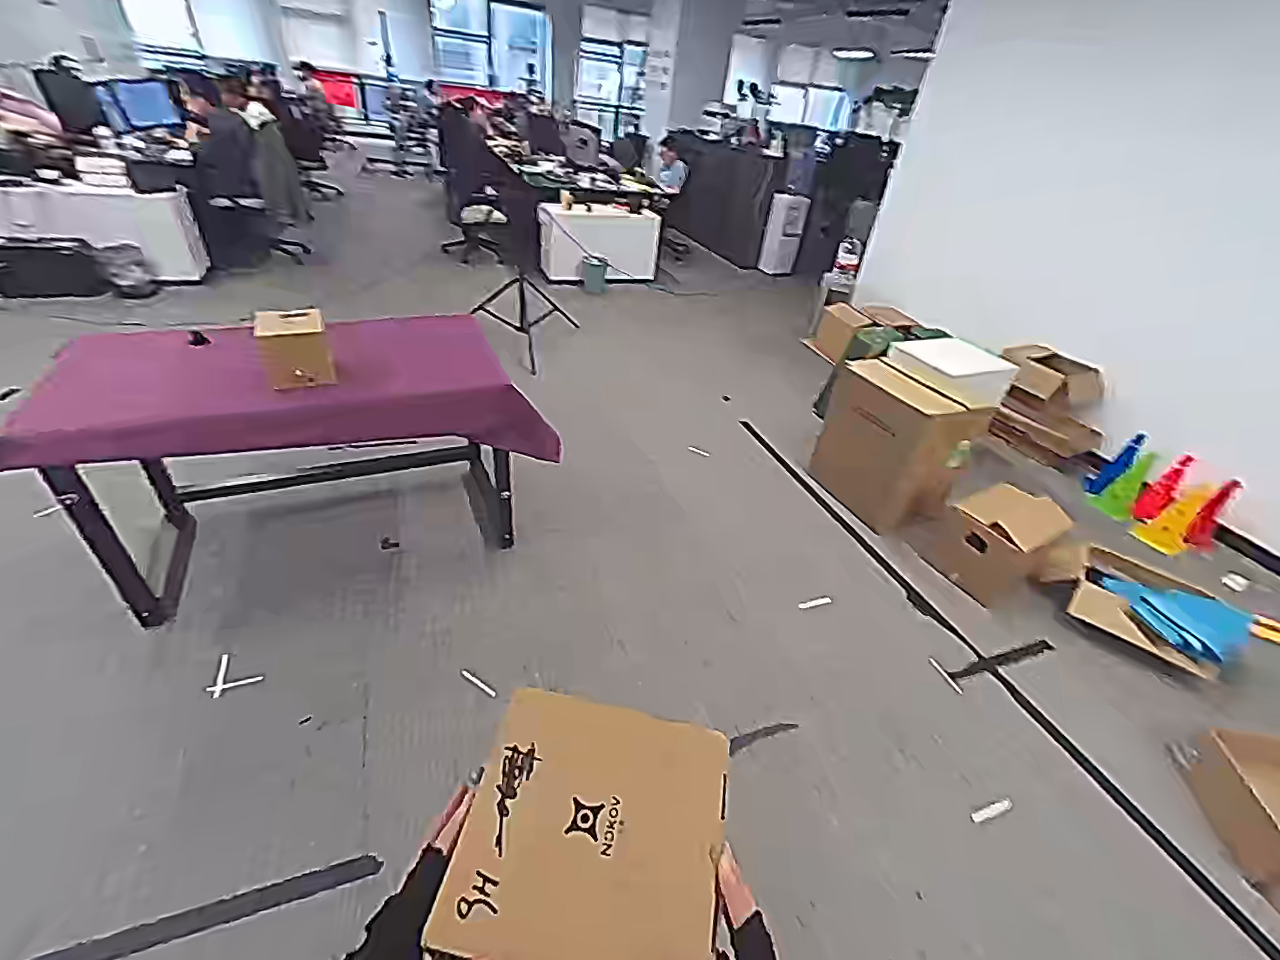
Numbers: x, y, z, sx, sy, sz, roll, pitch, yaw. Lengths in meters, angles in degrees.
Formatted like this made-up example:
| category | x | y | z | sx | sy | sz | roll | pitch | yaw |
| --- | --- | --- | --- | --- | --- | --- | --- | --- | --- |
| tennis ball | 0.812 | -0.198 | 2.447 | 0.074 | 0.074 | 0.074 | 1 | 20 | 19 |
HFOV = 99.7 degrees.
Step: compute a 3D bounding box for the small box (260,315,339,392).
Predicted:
| category | x | y | z | sx | sy | sz | roll | pitch | yaw |
| --- | --- | --- | --- | --- | --- | --- | --- | --- | --- |
| small box | -1.009 | -0.377 | 1.608 | 0.168 | 0.176 | 0.179 | -12 | 41 | -25 |
